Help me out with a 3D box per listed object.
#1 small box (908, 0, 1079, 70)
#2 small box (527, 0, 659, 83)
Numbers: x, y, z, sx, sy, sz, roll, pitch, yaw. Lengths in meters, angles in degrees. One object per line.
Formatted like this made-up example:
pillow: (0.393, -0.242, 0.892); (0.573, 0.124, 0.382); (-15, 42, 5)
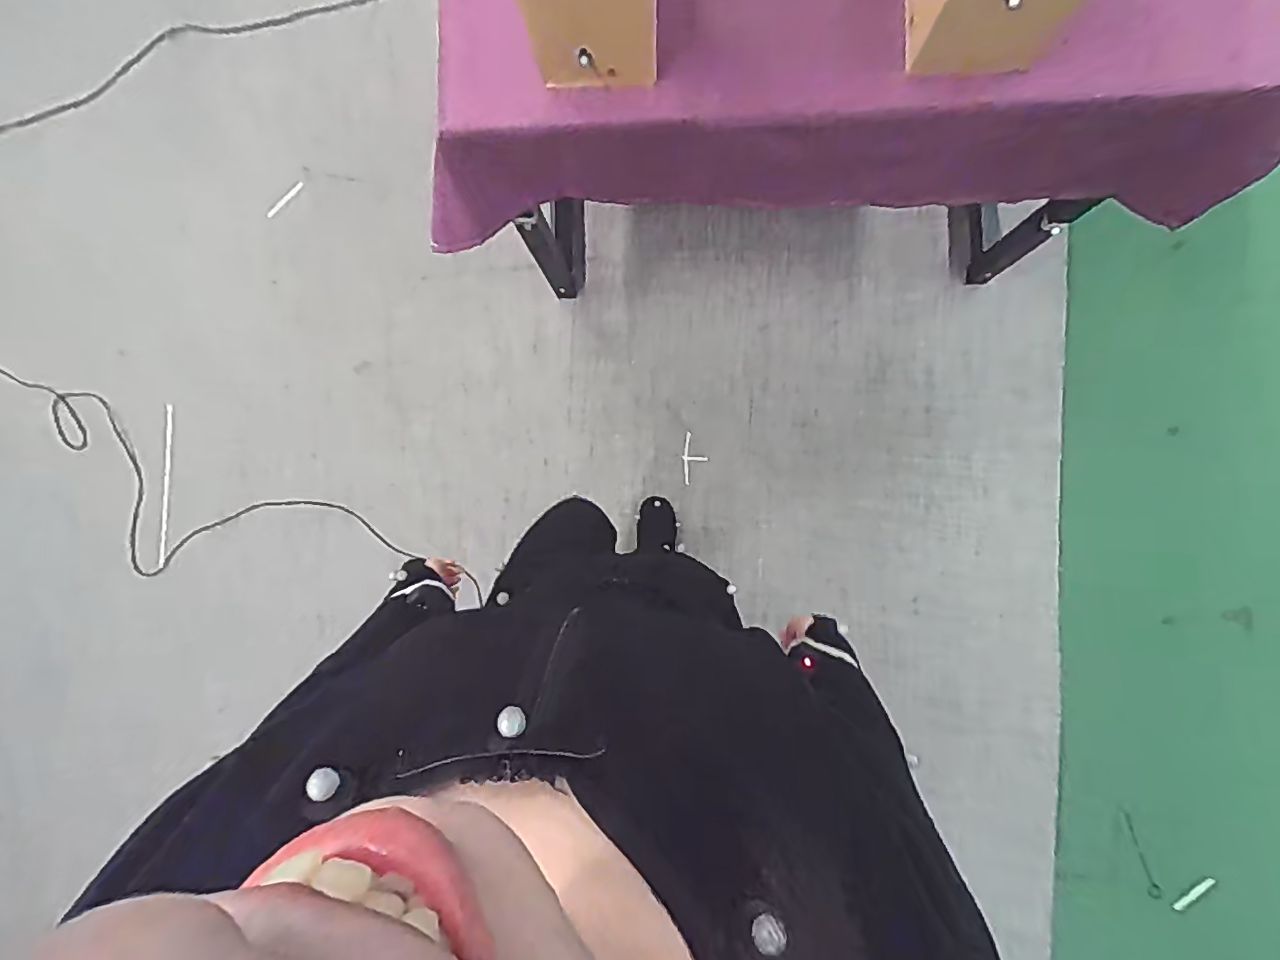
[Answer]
small box: (0.460, -0.660, 0.684); (0.179, 0.176, 0.168); (2, 89, 4)
small box: (-0.060, -0.675, 0.718); (0.168, 0.176, 0.179); (1, 89, 3)
